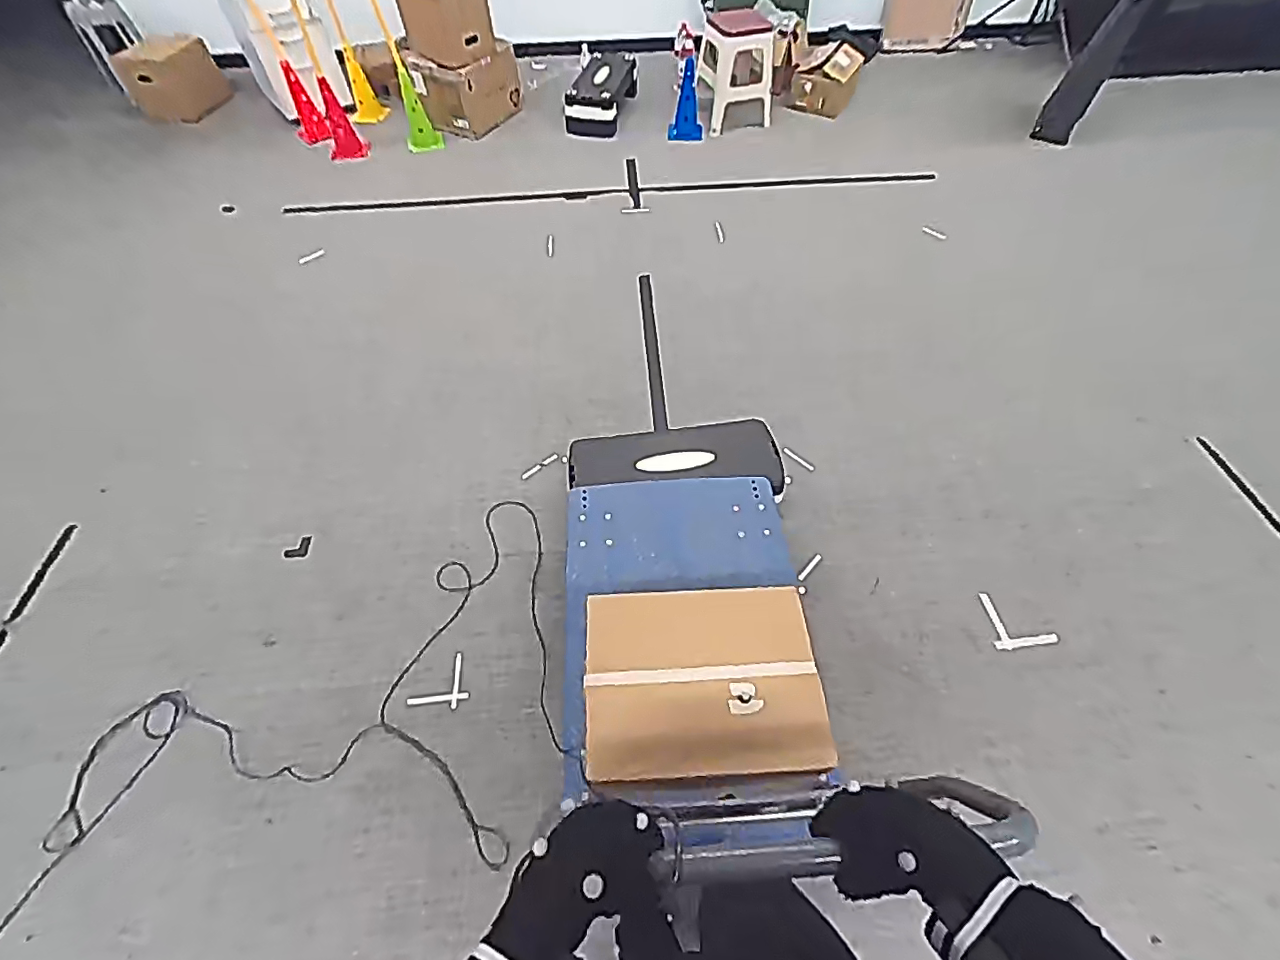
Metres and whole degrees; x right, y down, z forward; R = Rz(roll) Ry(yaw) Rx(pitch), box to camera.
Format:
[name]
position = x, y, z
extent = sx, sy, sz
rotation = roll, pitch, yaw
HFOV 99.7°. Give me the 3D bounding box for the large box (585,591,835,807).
[large box]
position = 0.104, 0.434, 1.058
extent = 0.408, 0.320, 0.320
rotation = -2, 55, -2
